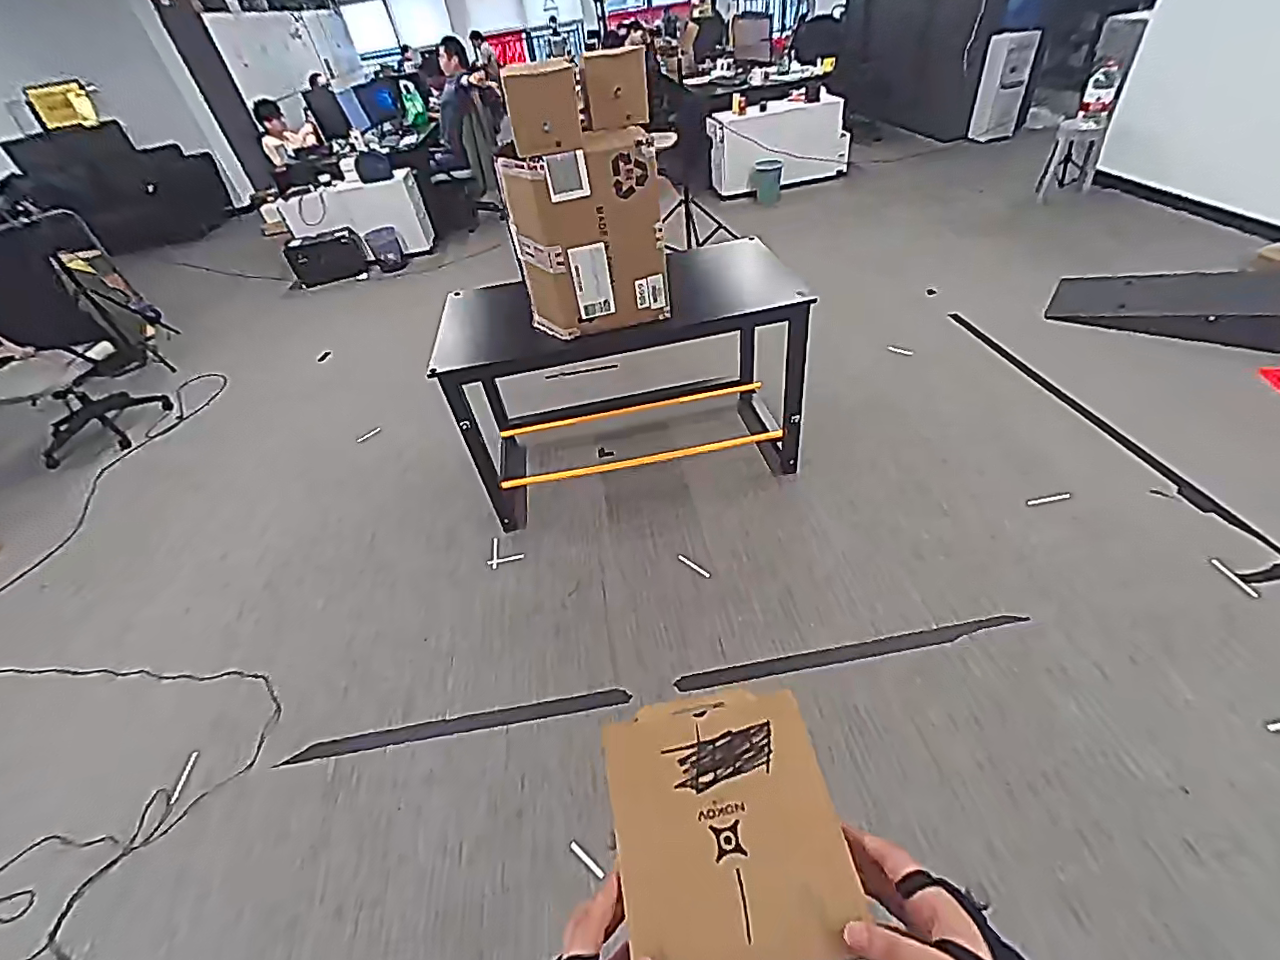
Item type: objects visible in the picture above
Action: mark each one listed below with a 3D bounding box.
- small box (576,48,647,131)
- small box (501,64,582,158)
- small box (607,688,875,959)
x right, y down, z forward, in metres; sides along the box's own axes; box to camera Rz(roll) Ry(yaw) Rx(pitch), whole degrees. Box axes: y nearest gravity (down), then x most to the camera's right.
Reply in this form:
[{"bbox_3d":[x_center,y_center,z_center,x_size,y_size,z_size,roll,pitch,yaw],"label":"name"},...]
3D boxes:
[{"bbox_3d":[-0.079,-1.106,1.535,0.168,0.176,0.179,-11,42,-5],"label":"small box"},{"bbox_3d":[-0.249,-0.928,1.362,0.168,0.176,0.179,-13,43,-6],"label":"small box"},{"bbox_3d":[0.068,0.308,0.467,0.168,0.176,0.179,-10,49,-3],"label":"small box"}]
